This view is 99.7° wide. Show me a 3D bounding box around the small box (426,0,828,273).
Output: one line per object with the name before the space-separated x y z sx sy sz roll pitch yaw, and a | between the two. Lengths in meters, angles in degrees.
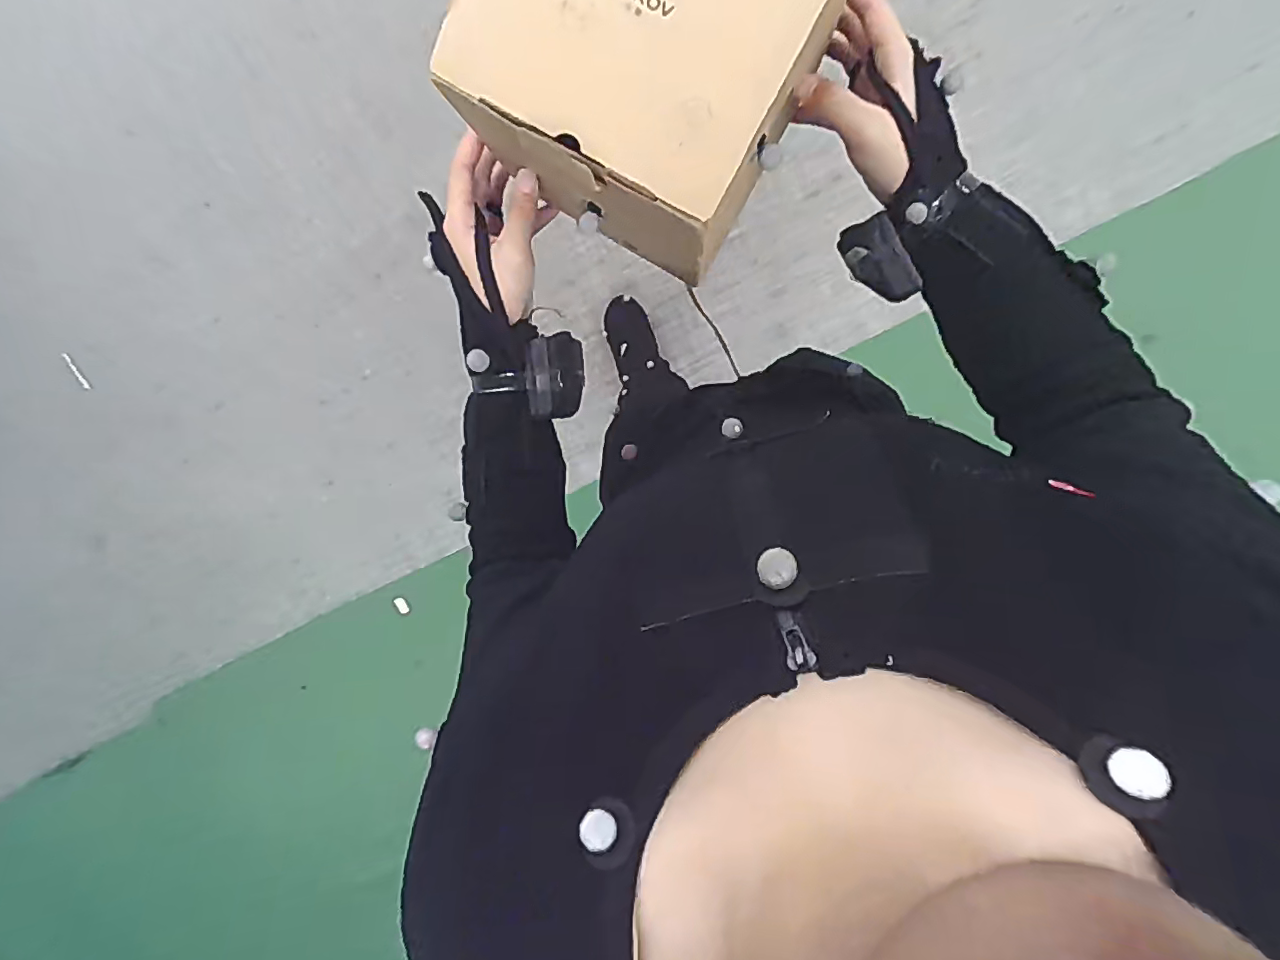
small box | 0.006 -0.257 0.343 0.168 0.176 0.179 29 102 0
